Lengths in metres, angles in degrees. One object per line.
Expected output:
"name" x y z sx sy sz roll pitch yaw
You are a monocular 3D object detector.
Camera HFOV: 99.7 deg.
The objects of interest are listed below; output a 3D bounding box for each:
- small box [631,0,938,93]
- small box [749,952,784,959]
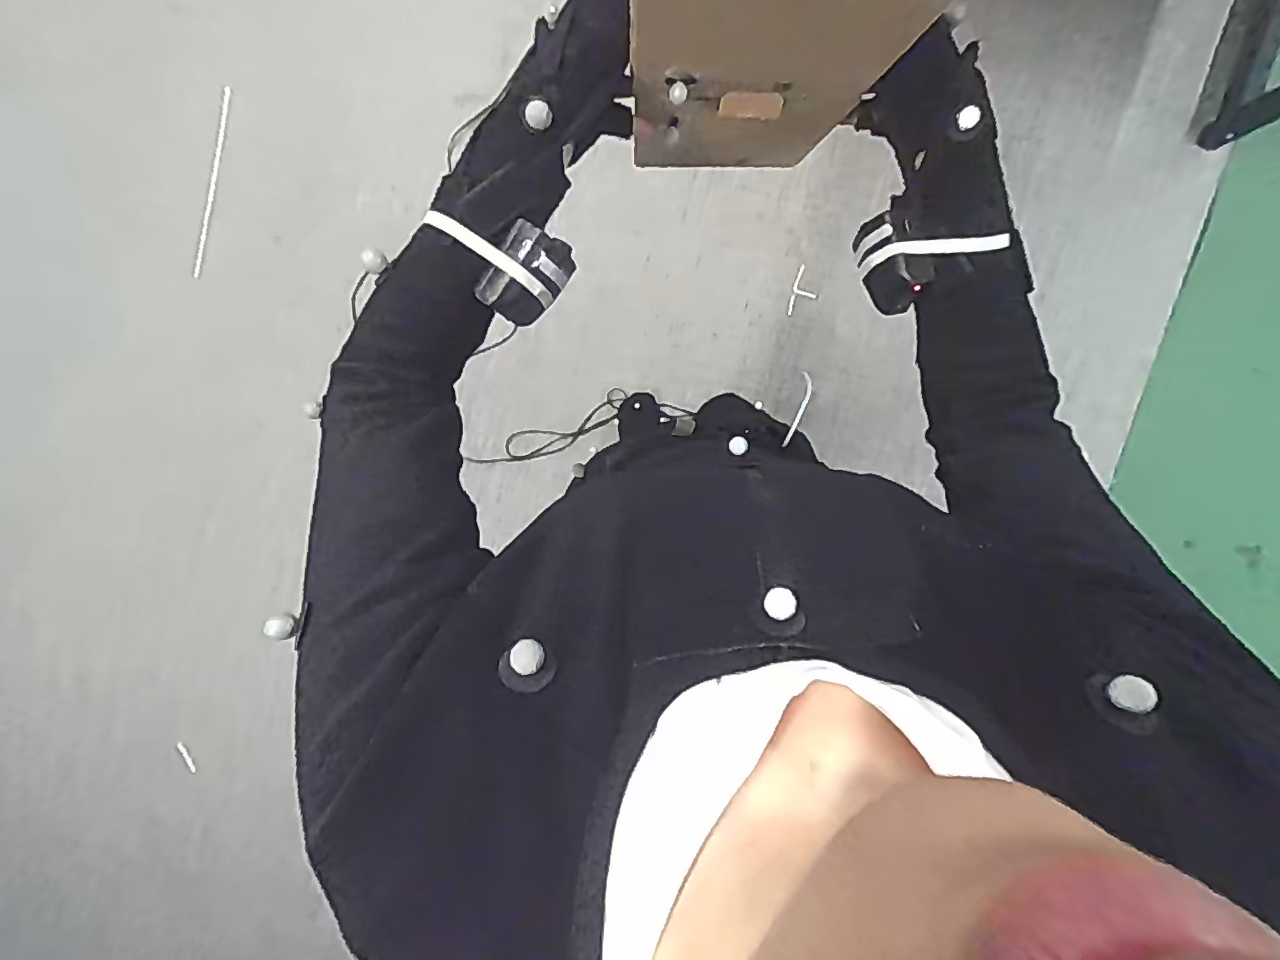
"small box" 0.083 -0.332 0.277 0.168 0.176 0.179 3 106 -4
"small box" 0.262 0.980 0.935 0.168 0.176 0.179 14 95 1
